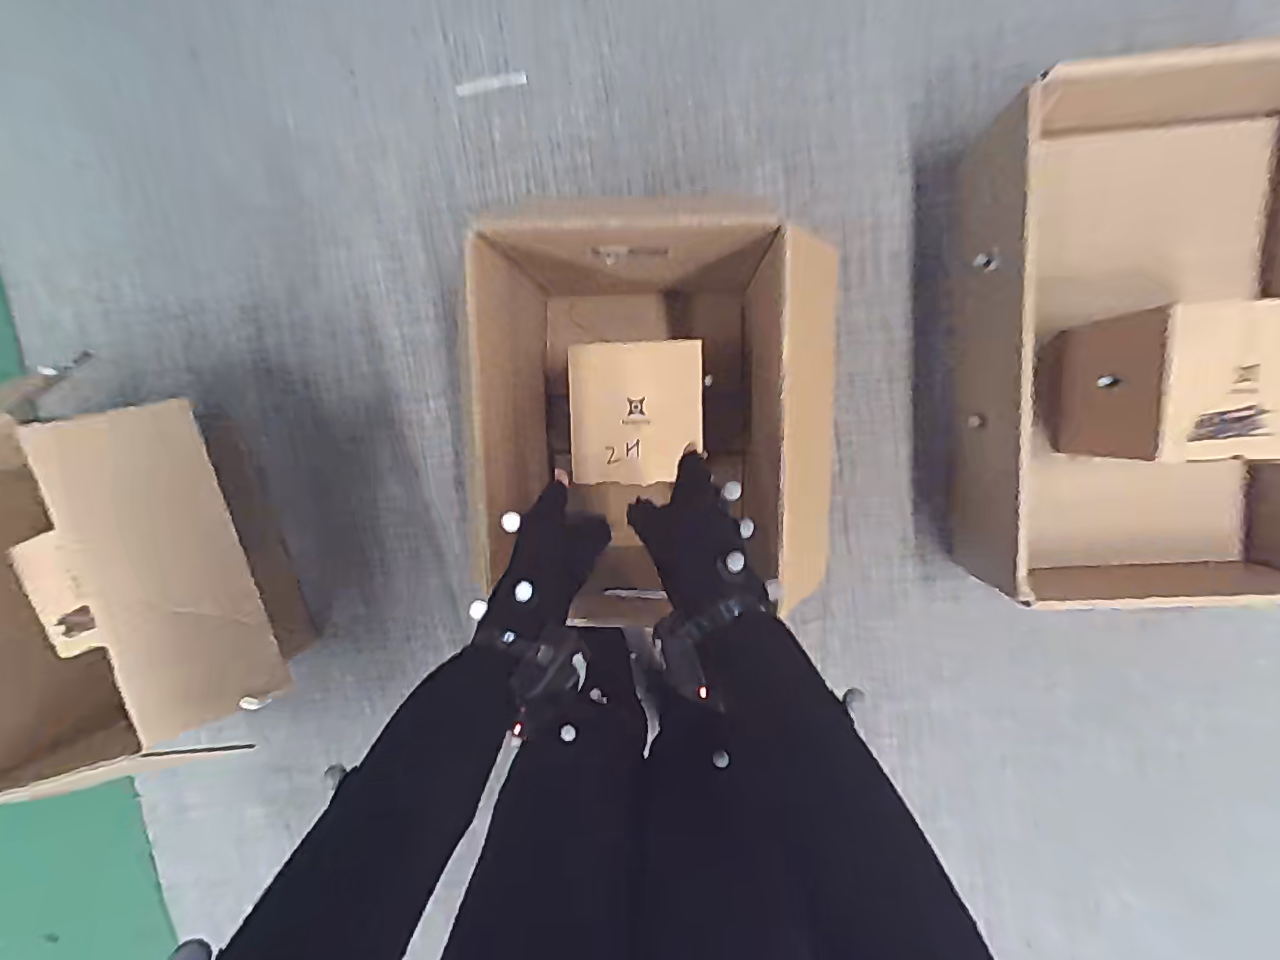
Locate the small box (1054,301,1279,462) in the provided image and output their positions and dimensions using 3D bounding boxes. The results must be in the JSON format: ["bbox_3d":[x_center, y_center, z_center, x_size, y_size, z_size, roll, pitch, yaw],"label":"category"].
[{"bbox_3d":[0.658,-0.116,0.673,0.168,0.176,0.179,-1,95,4],"label":"small box"}]
